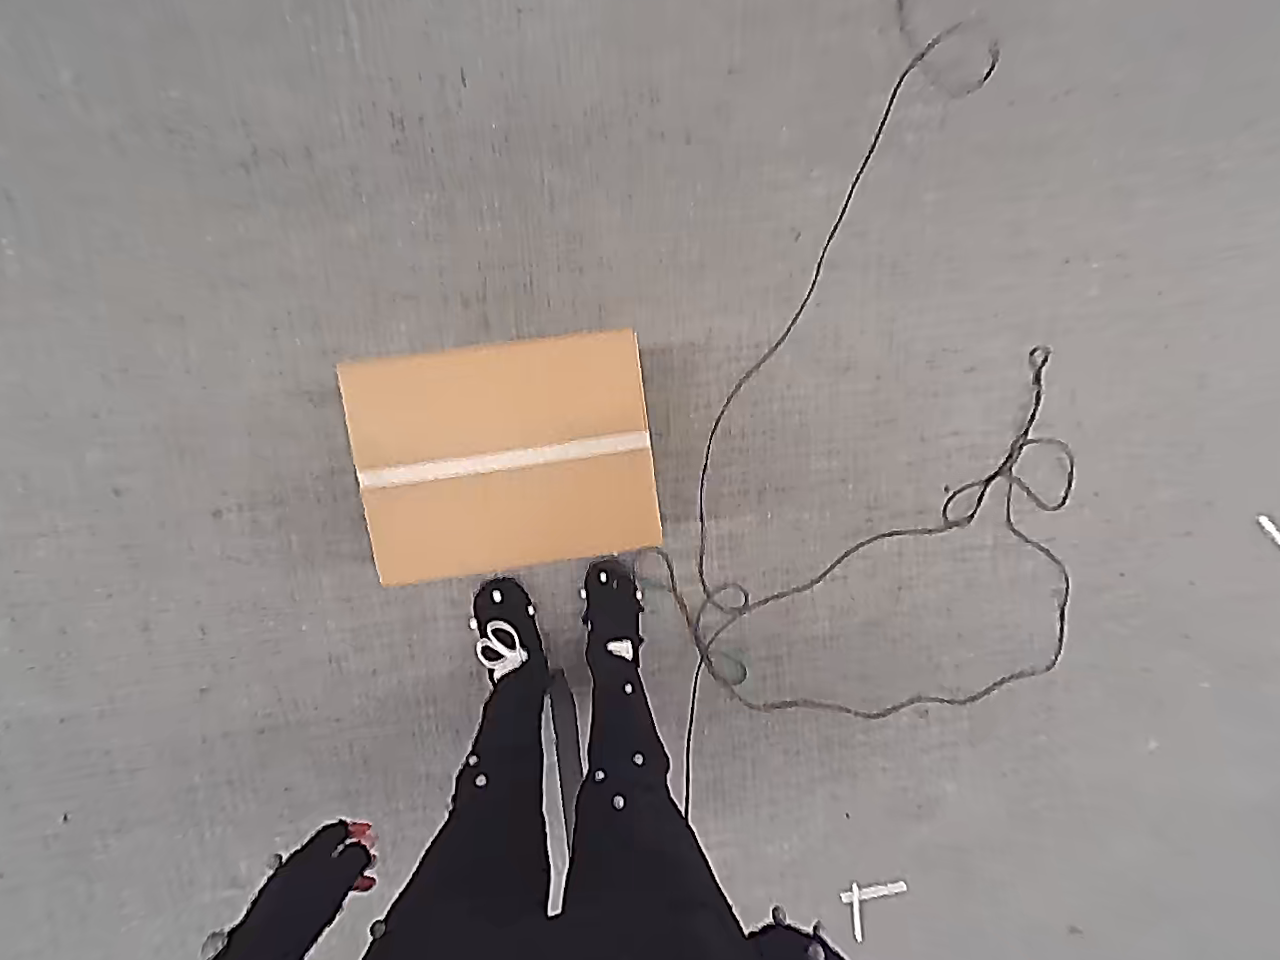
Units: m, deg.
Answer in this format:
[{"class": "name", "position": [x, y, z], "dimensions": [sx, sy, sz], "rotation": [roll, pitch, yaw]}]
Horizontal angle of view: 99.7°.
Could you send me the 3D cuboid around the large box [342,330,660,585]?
[{"class": "large box", "position": [-0.198, -0.048, 0.906], "dimensions": [0.408, 0.320, 0.320], "rotation": [-8, 97, -4]}]
